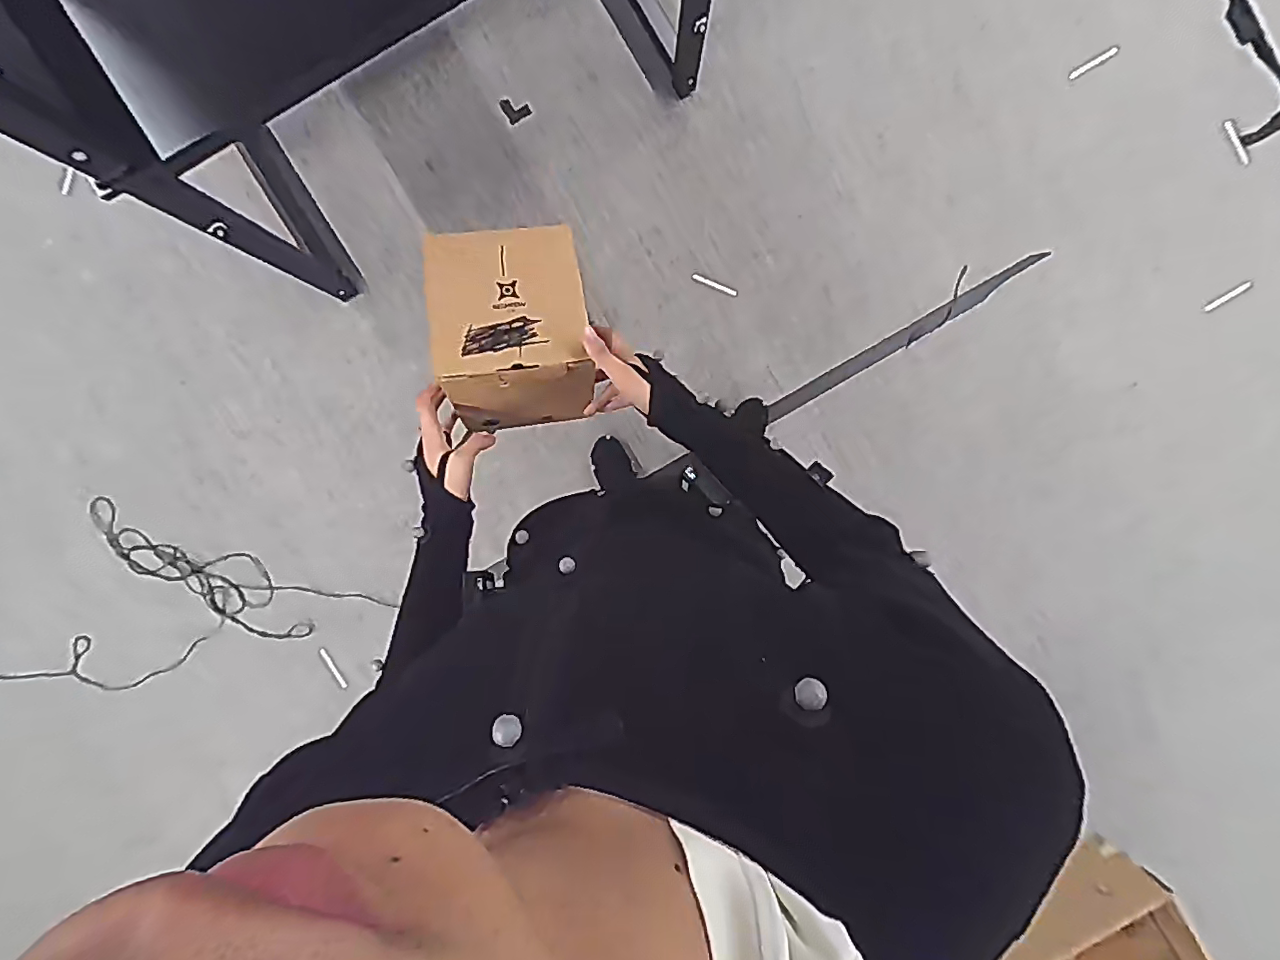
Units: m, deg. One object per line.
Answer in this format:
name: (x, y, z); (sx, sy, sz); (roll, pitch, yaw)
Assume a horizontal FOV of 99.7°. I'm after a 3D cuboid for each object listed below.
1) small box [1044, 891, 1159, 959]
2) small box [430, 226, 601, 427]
small box: (1.087, 1.119, 1.249); (0.179, 0.176, 0.168); (-38, 95, 2)
small box: (-0.143, -0.174, 0.661); (0.168, 0.176, 0.179); (-10, 76, -10)
